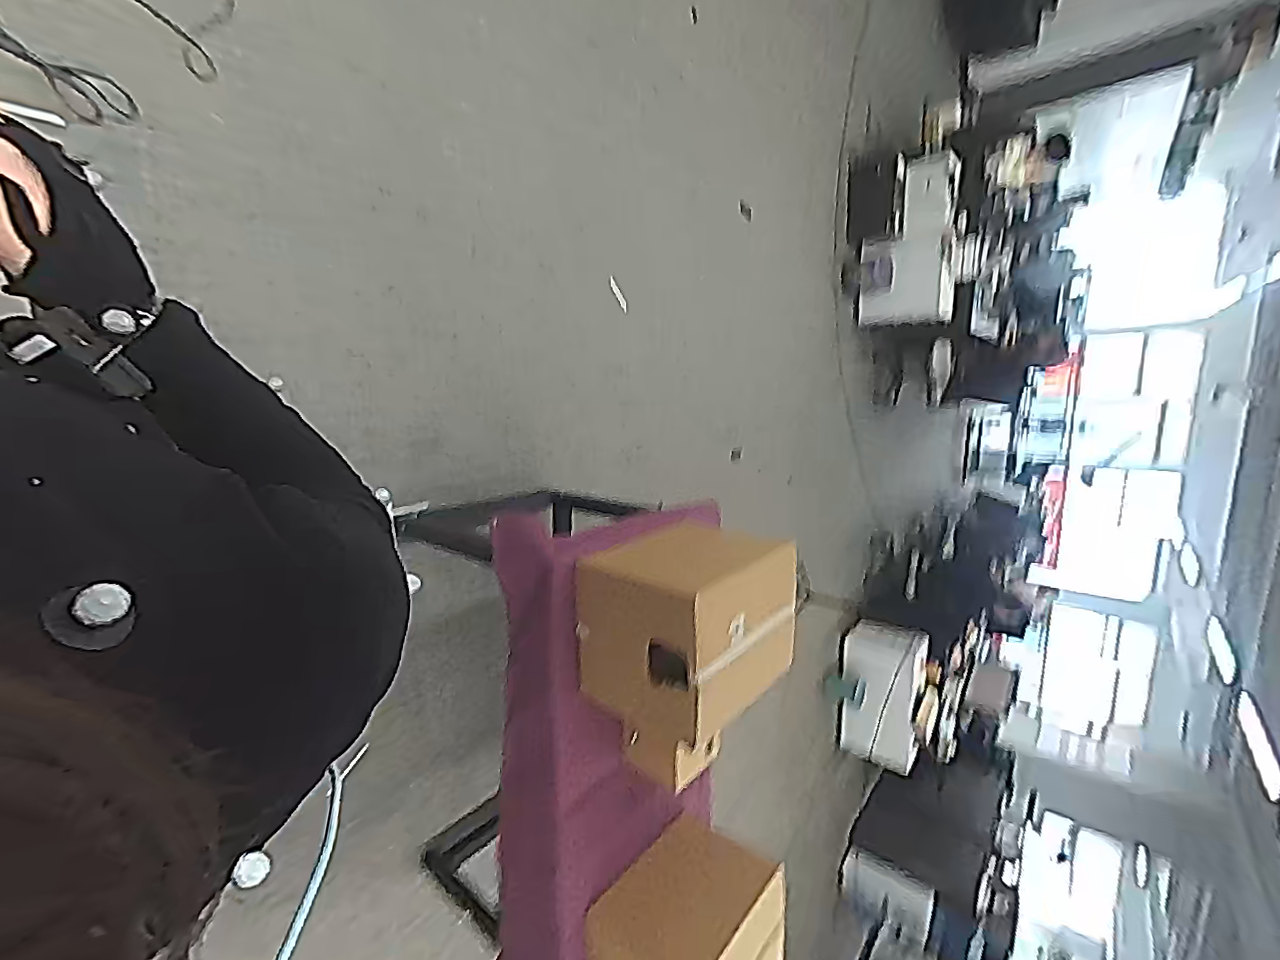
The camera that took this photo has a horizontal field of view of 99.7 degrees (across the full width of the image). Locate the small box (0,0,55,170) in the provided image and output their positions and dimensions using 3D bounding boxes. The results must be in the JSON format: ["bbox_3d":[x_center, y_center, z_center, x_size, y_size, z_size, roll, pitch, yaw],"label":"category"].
[{"bbox_3d":[-0.411,-0.220,0.214,0.168,0.176,0.179,-61,136,-69],"label":"small box"}]
